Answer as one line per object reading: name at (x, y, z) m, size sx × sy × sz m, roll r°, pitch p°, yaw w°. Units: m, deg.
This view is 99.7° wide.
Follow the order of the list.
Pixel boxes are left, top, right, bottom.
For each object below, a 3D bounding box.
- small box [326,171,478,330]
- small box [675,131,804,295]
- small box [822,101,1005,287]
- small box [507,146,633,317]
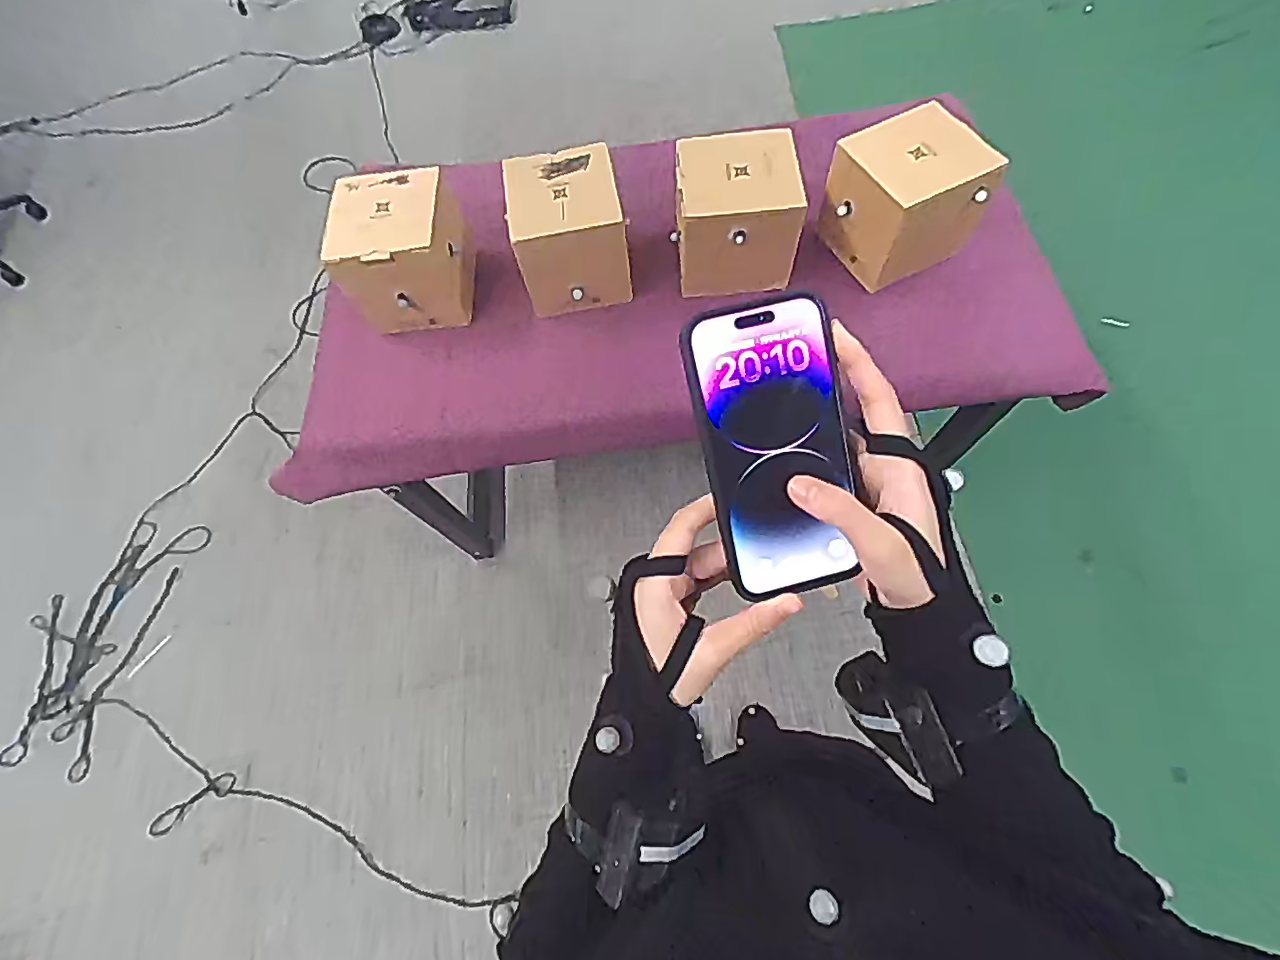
small box at (-0.375, -0.364, 0.887) m, size 0.168 × 0.176 × 0.179 m, roll -6°, pitch 67°, yaw 2°
small box at (0.150, -0.415, 0.862) m, size 0.179 × 0.176 × 0.168 m, roll -3°, pitch 67°, yaw 3°
small box at (0.406, -0.437, 0.847) m, size 0.179 × 0.176 × 0.168 m, roll -26°, pitch 66°, yaw -6°
small box at (-0.109, -0.395, 0.876) m, size 0.168 × 0.176 × 0.179 m, roll -10°, pitch 67°, yaw 1°
